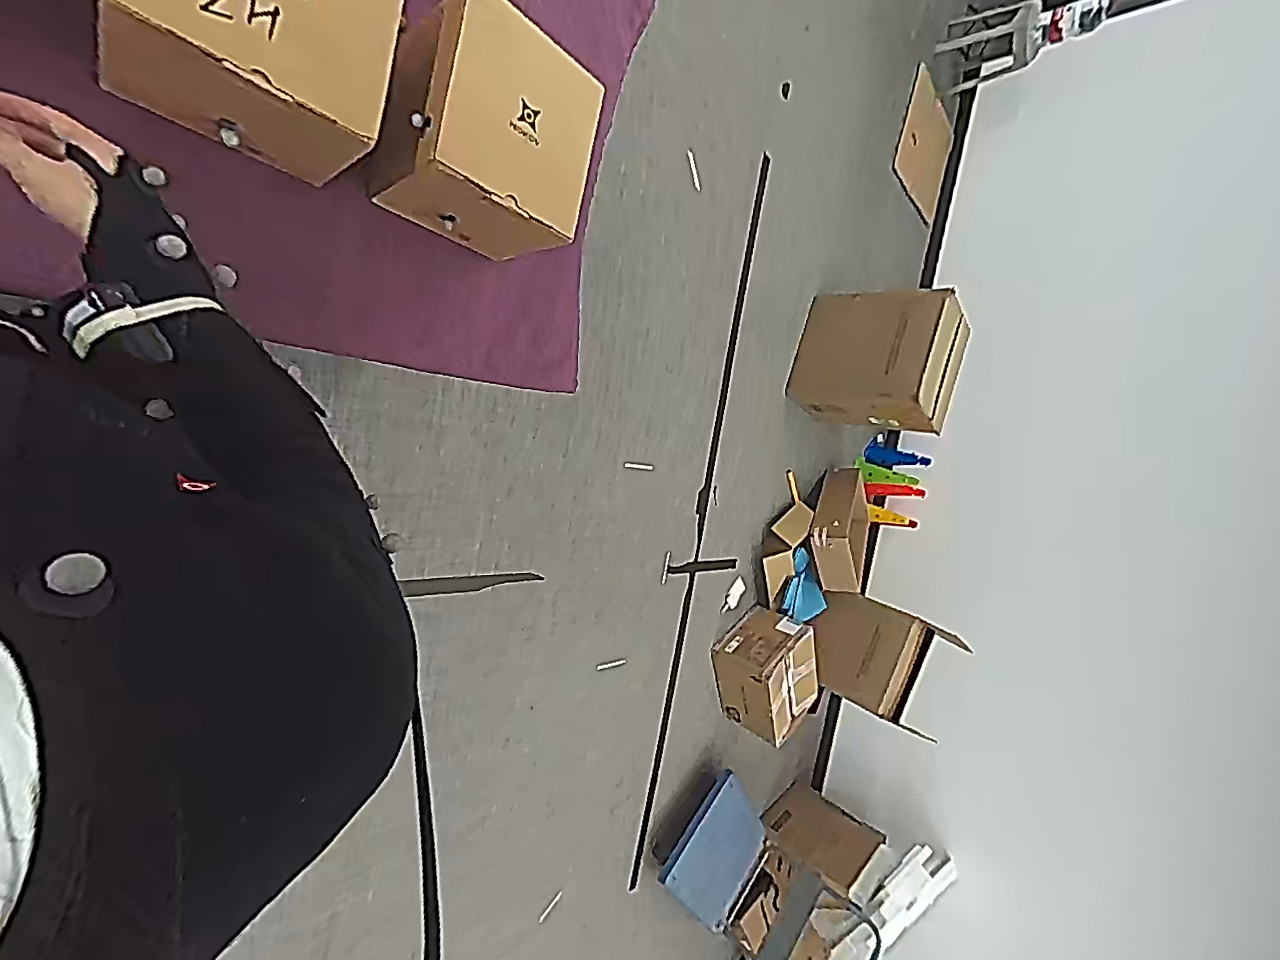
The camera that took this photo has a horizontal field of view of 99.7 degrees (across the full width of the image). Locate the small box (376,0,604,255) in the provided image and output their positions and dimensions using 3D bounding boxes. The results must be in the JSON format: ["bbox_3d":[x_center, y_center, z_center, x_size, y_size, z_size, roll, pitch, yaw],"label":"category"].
[{"bbox_3d":[-0.168,-0.372,0.596,0.168,0.176,0.179,10,93,-46],"label":"small box"}]
